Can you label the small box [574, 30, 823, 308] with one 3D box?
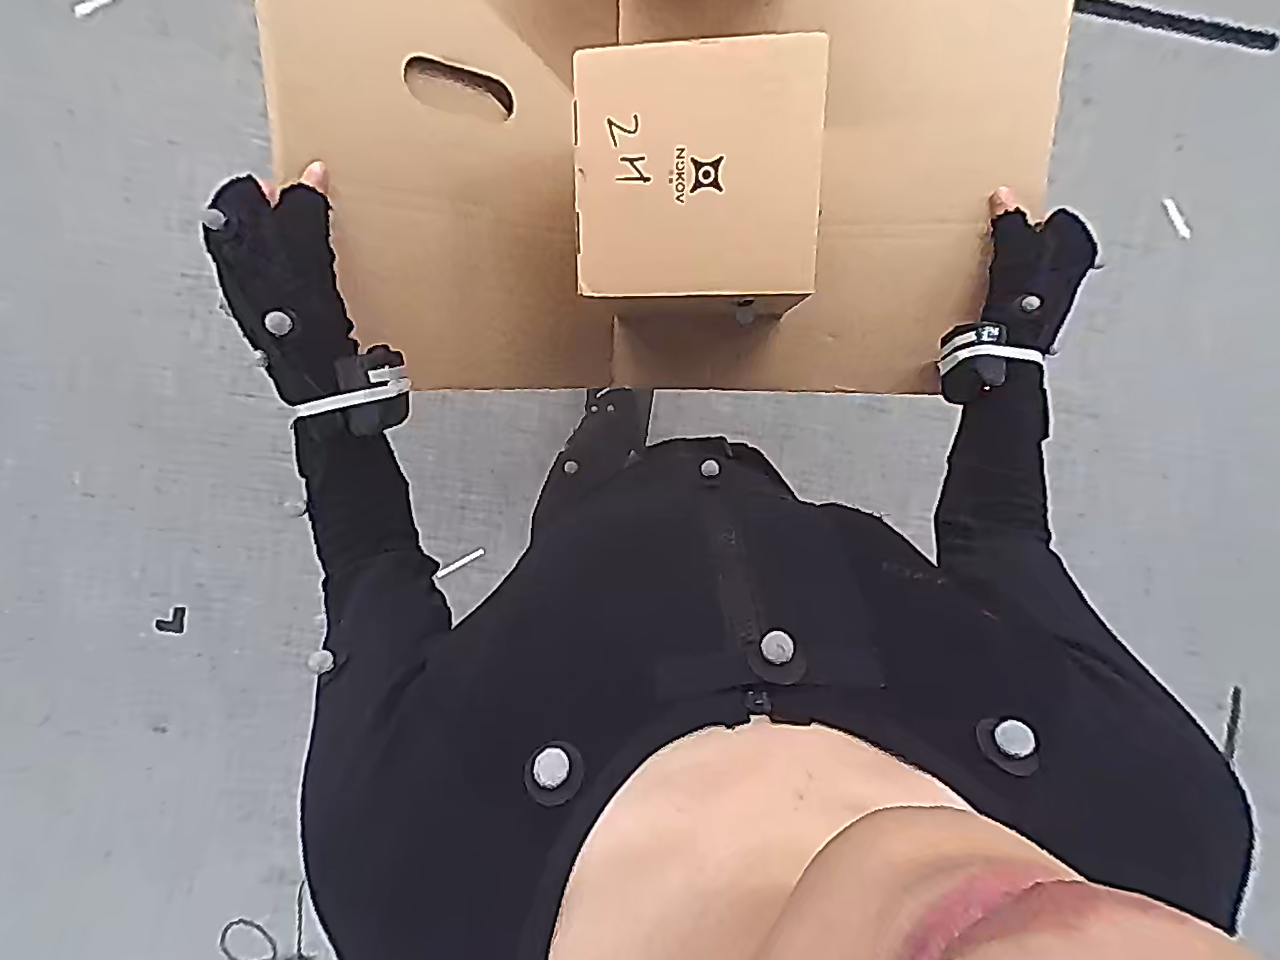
[{"bbox_3d":[0.048,-0.245,0.470,0.179,0.176,0.168,2,102,8],"label":"small box"}]
